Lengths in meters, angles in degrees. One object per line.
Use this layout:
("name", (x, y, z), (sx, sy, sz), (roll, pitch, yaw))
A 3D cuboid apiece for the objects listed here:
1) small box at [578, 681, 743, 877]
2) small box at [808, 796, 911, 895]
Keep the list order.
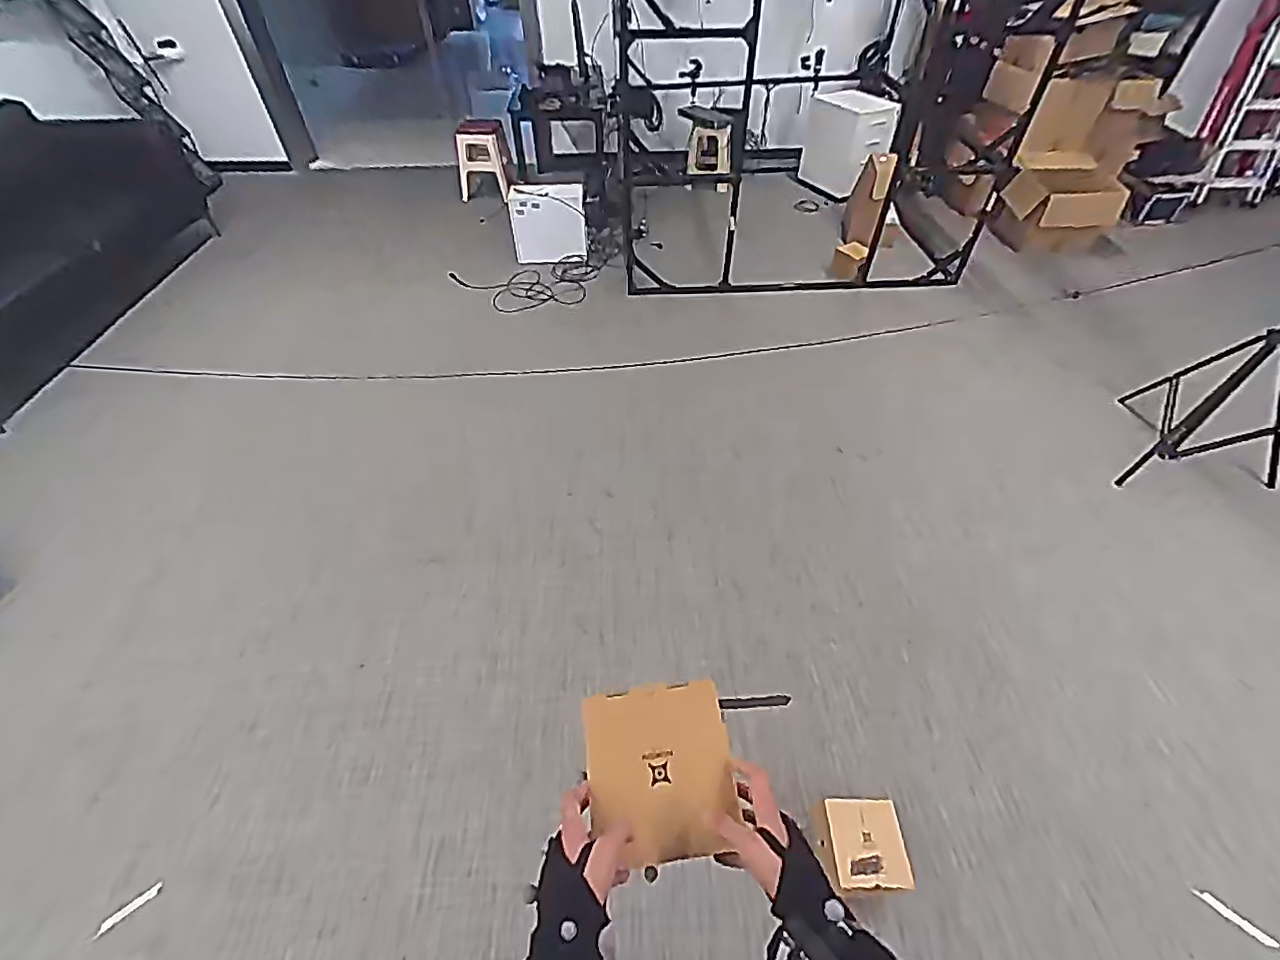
("small box", (0.017, 0.369, 0.668), (0.168, 0.176, 0.179), (-7, 54, -6))
("small box", (0.513, 0.874, 1.292), (0.168, 0.176, 0.179), (1, 47, 1))
